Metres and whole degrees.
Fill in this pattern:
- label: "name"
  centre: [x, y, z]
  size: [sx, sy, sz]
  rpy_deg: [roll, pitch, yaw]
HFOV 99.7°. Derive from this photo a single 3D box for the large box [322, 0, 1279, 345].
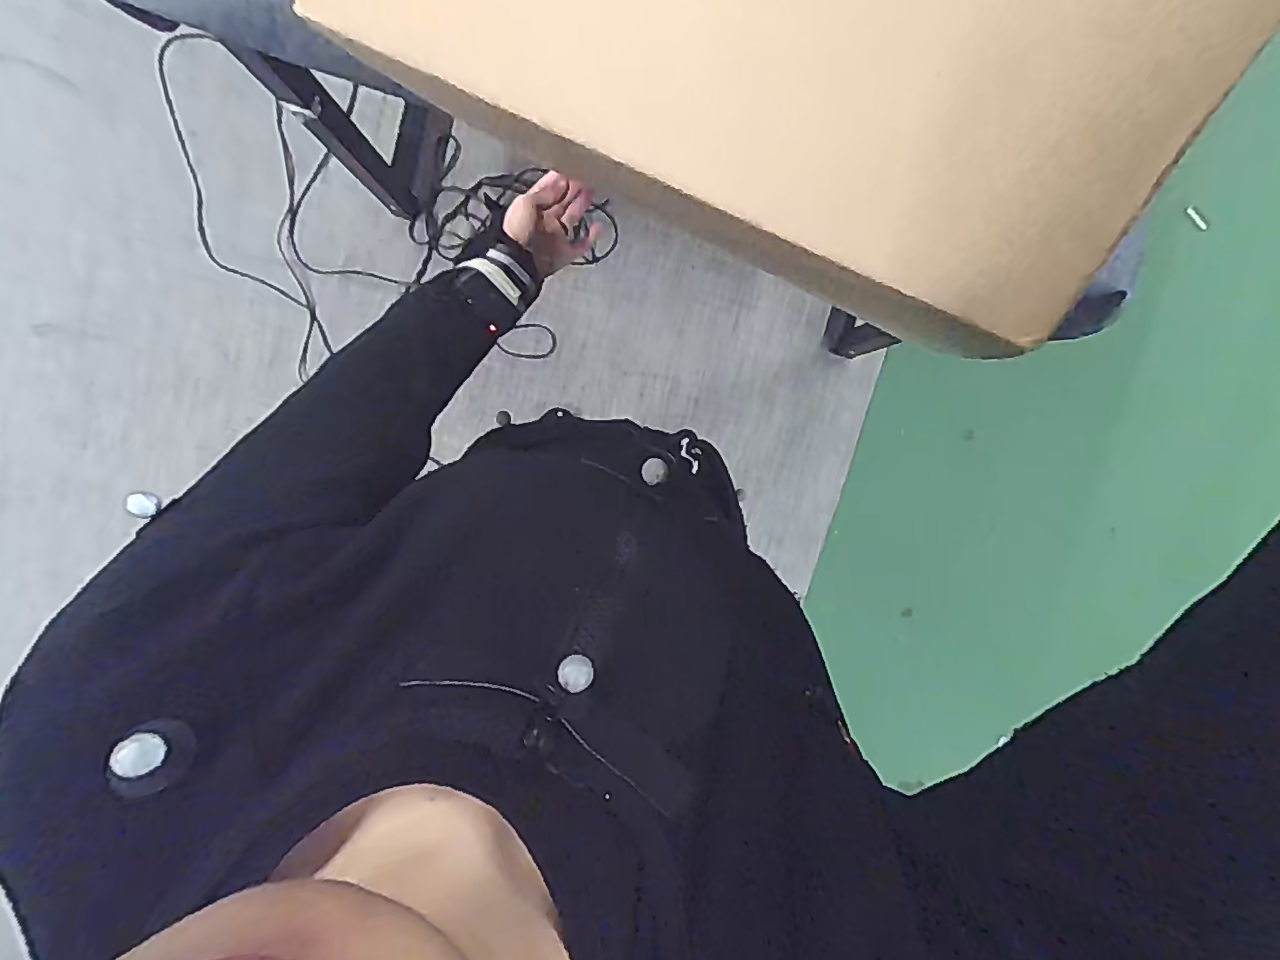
- label: "large box"
  centre: [0.098, -0.312, 0.336]
  size: [0.408, 0.320, 0.320]
  rpy_deg: [29, 112, 11]
